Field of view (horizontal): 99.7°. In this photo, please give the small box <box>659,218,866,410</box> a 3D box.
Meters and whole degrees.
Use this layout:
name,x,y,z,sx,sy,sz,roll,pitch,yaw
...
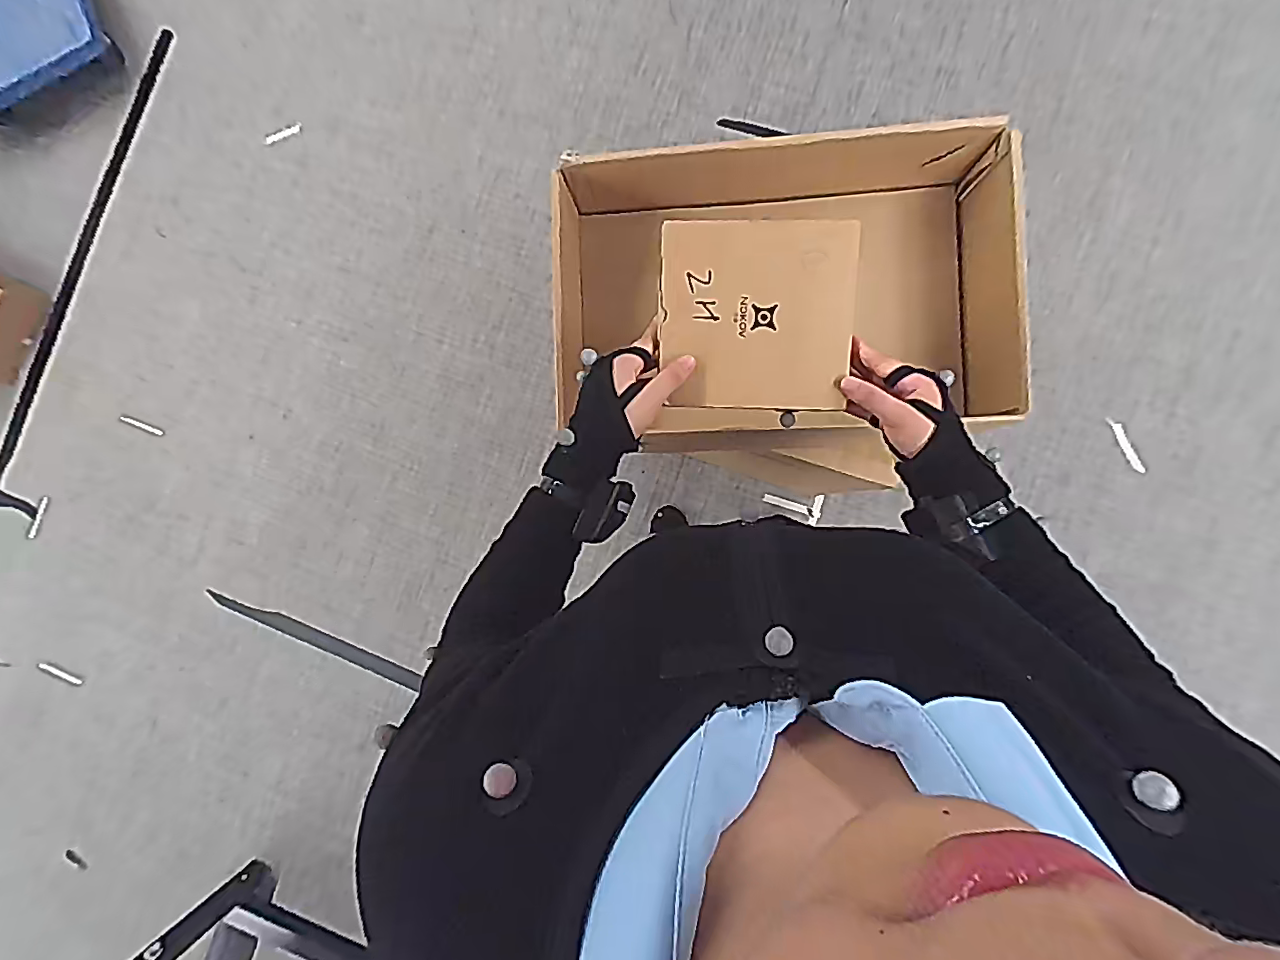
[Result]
name,x,y,z,sx,sy,sz,roll,pitch,yaw
small box,0.115,-0.161,0.565,0.179,0.176,0.168,3,98,6
